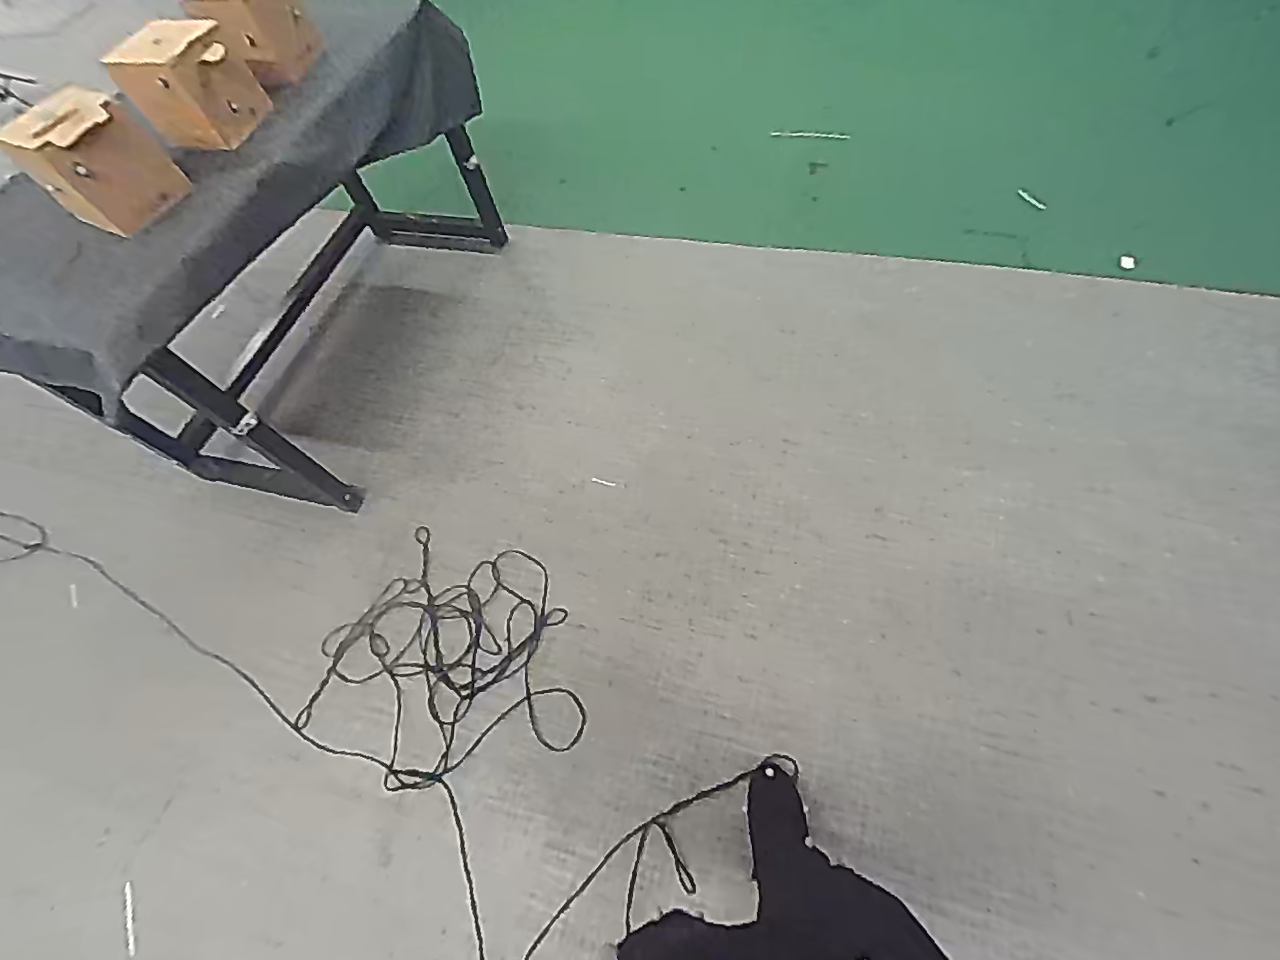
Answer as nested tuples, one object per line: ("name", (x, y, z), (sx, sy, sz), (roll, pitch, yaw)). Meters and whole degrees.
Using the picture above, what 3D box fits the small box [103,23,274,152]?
("small box", (-0.932, -0.817, 1.134), (0.179, 0.176, 0.168), (10, 63, 13))

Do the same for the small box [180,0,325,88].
("small box", (-0.876, -1.035, 1.246), (0.179, 0.176, 0.168), (7, 62, 13))
